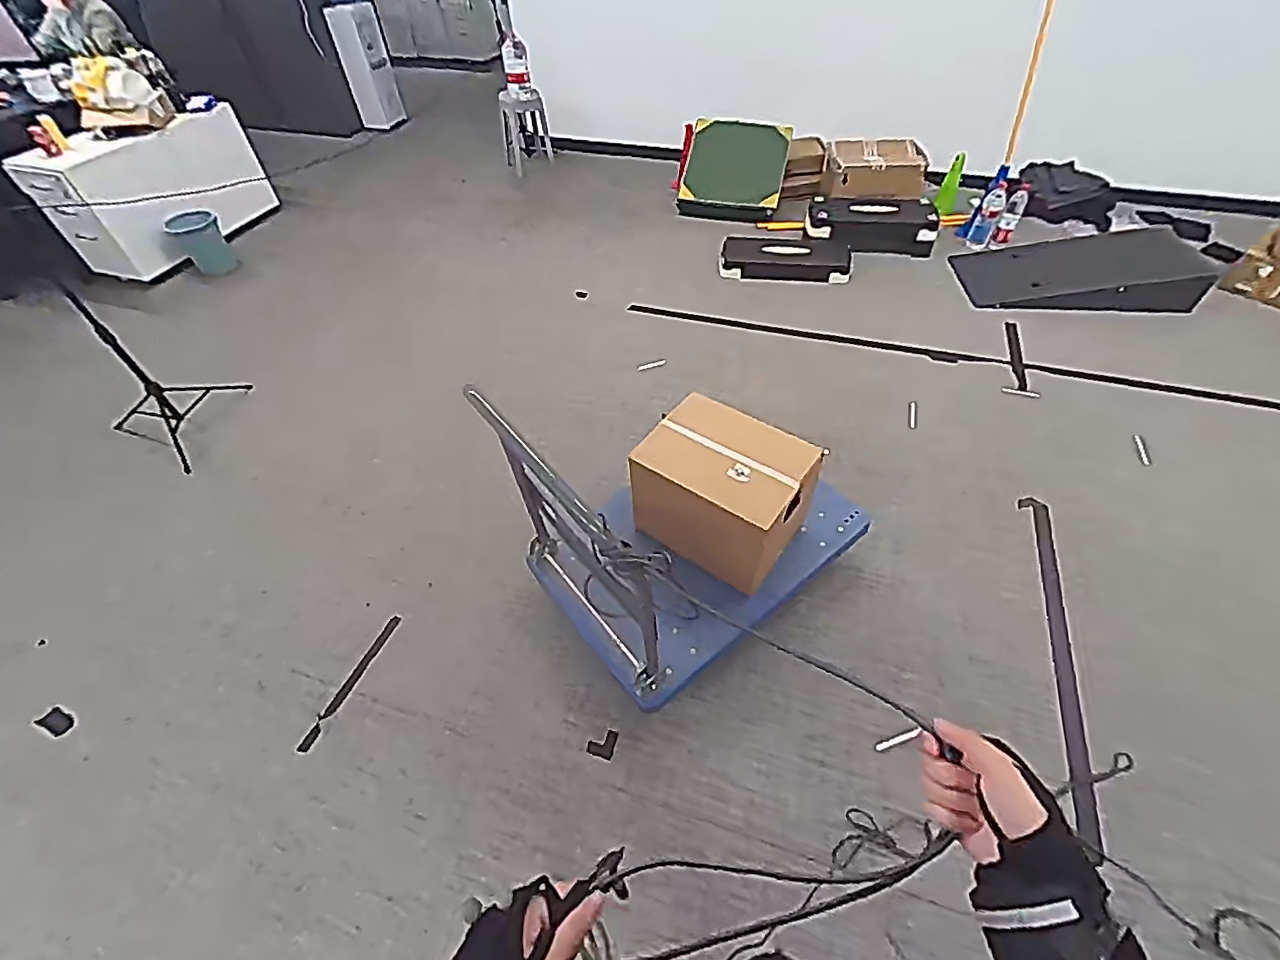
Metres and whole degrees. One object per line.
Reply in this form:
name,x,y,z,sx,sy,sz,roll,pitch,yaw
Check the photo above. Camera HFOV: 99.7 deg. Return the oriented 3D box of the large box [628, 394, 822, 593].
large box,0.216,0.032,1.482,0.408,0.320,0.320,29,57,23
